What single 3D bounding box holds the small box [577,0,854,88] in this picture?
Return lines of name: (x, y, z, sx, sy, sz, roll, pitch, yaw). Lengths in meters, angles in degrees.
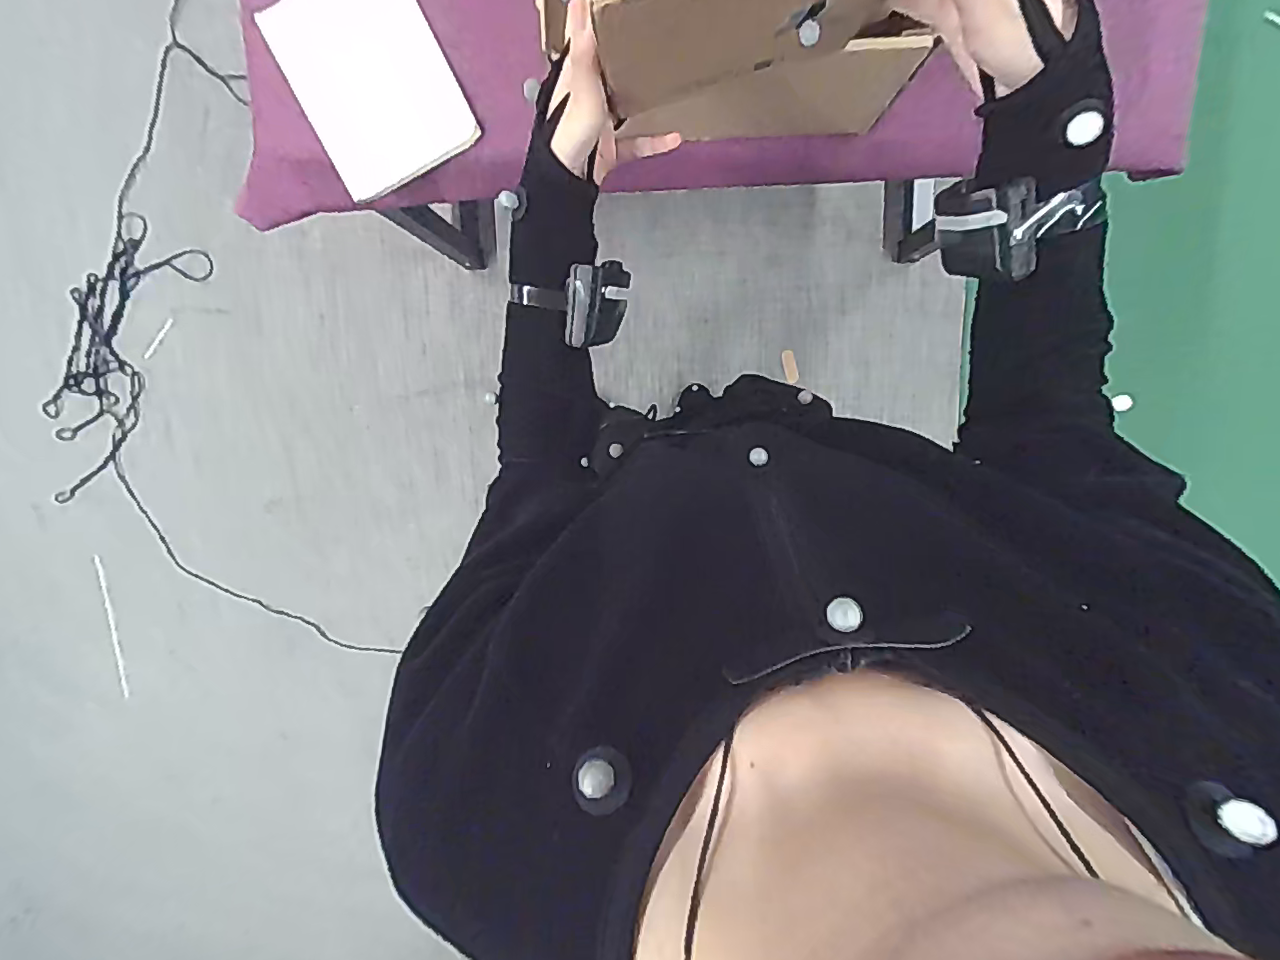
small box: (0.035, -0.339, 0.280, 0.168, 0.176, 0.179, -12, 108, 6)
